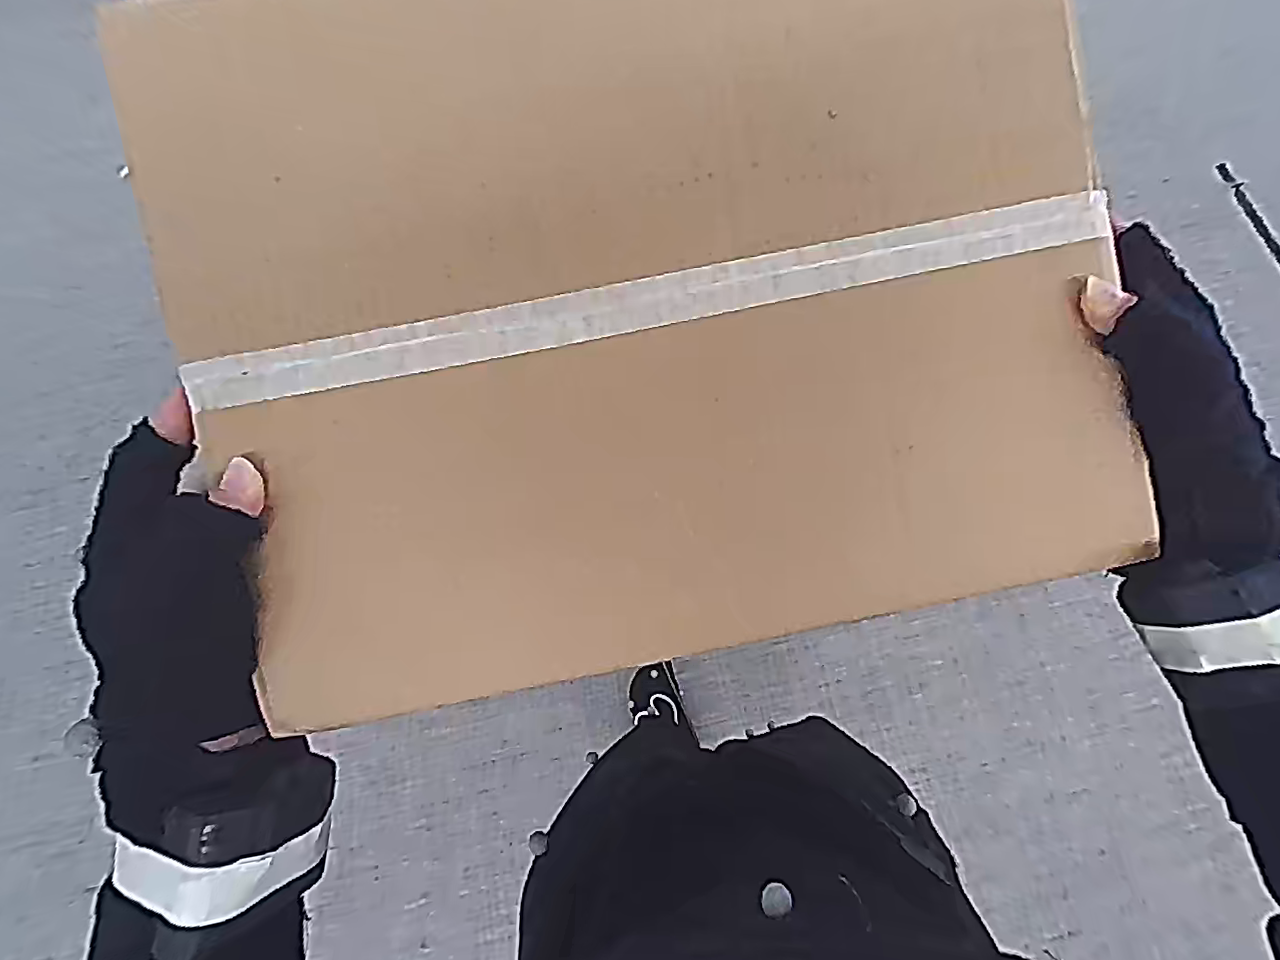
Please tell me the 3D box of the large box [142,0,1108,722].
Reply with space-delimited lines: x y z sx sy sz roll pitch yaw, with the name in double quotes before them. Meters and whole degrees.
"large box" 0.002 -0.084 0.396 0.408 0.320 0.320 -11 92 -2
